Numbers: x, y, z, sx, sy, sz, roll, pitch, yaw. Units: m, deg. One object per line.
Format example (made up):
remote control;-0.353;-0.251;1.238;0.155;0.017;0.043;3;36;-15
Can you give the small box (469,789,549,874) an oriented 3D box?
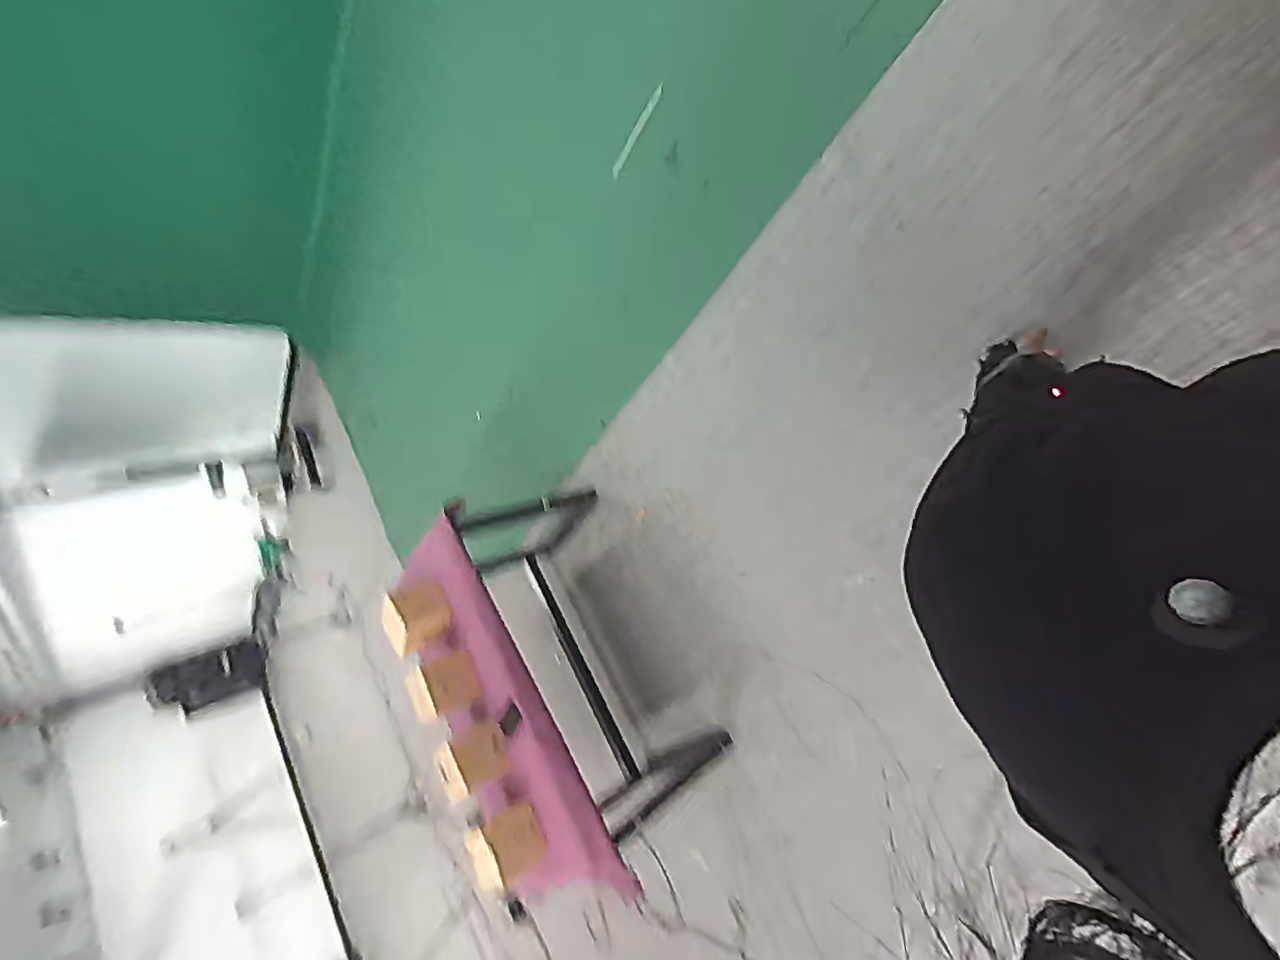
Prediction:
small box;-0.412;1.116;1.725;0.179;0.176;0.168;-42;70;41

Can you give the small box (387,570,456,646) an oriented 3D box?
small box;-0.777;0.449;1.925;0.179;0.176;0.168;43;127;29

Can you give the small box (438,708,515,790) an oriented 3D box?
small box;-0.541;0.892;1.797;0.168;0.176;0.179;57;132;18

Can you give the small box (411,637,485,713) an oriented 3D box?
small box;-0.658;0.669;1.862;0.168;0.176;0.179;-39;72;42
